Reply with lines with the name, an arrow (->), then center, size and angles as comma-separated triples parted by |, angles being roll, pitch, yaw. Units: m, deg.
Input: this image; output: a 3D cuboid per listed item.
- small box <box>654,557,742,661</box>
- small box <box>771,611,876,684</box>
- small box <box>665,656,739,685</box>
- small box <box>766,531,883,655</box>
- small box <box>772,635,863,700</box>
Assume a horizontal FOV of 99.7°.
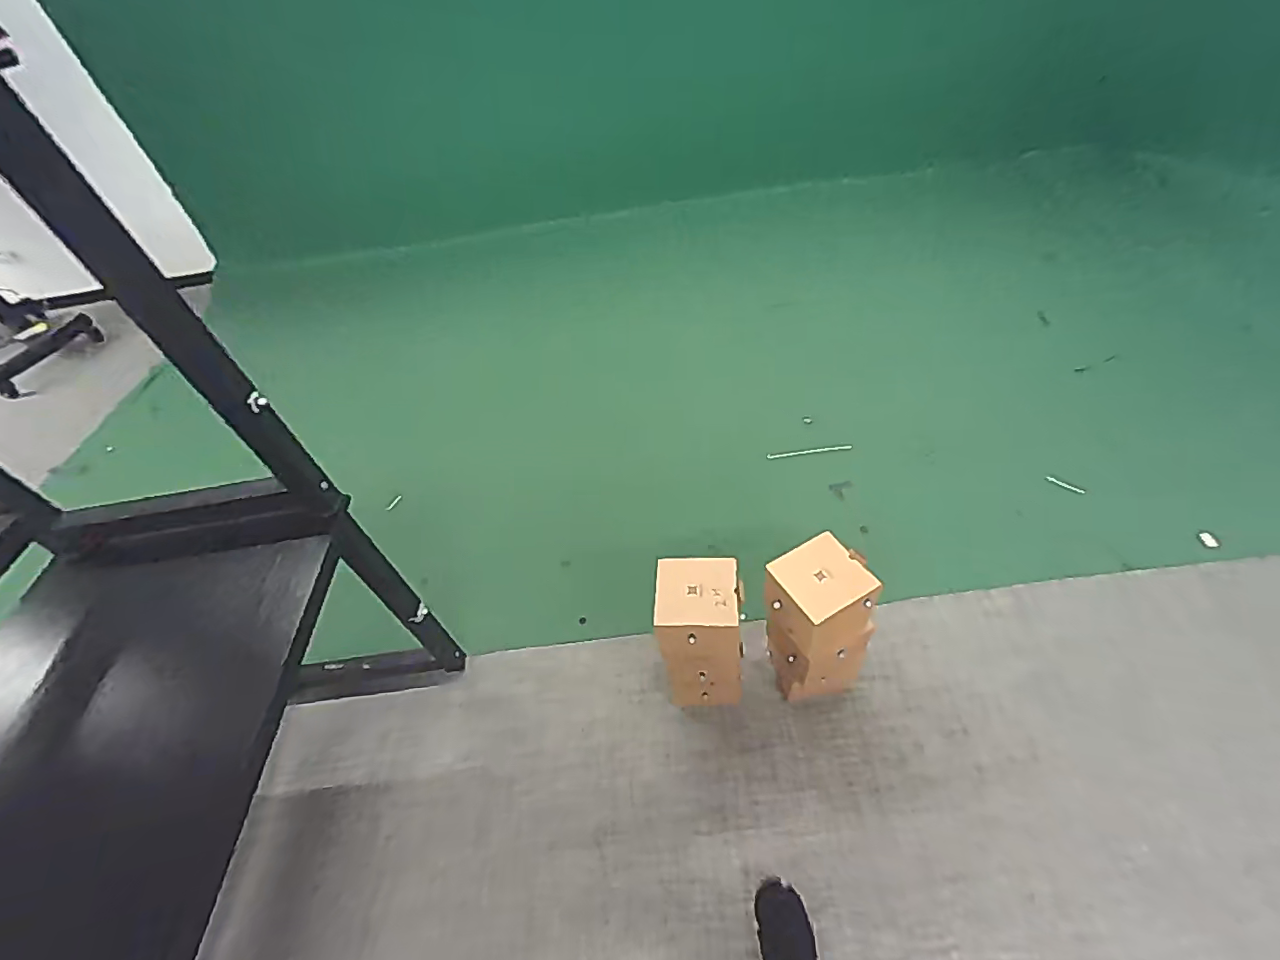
small box -> 0.132, 0.285, 1.185 | 0.179, 0.176, 0.168 | -2, 48, 9
small box -> 0.428, 0.359, 1.296 | 0.179, 0.176, 0.168 | -22, 50, -12
small box -> 0.152, 0.388, 1.314 | 0.168, 0.176, 0.179 | -4, 48, 7
small box -> 0.392, 0.250, 1.179 | 0.179, 0.176, 0.168 | -26, 50, -15
small box -> 0.456, 0.458, 1.422 | 0.179, 0.176, 0.168 | -13, 48, -3
